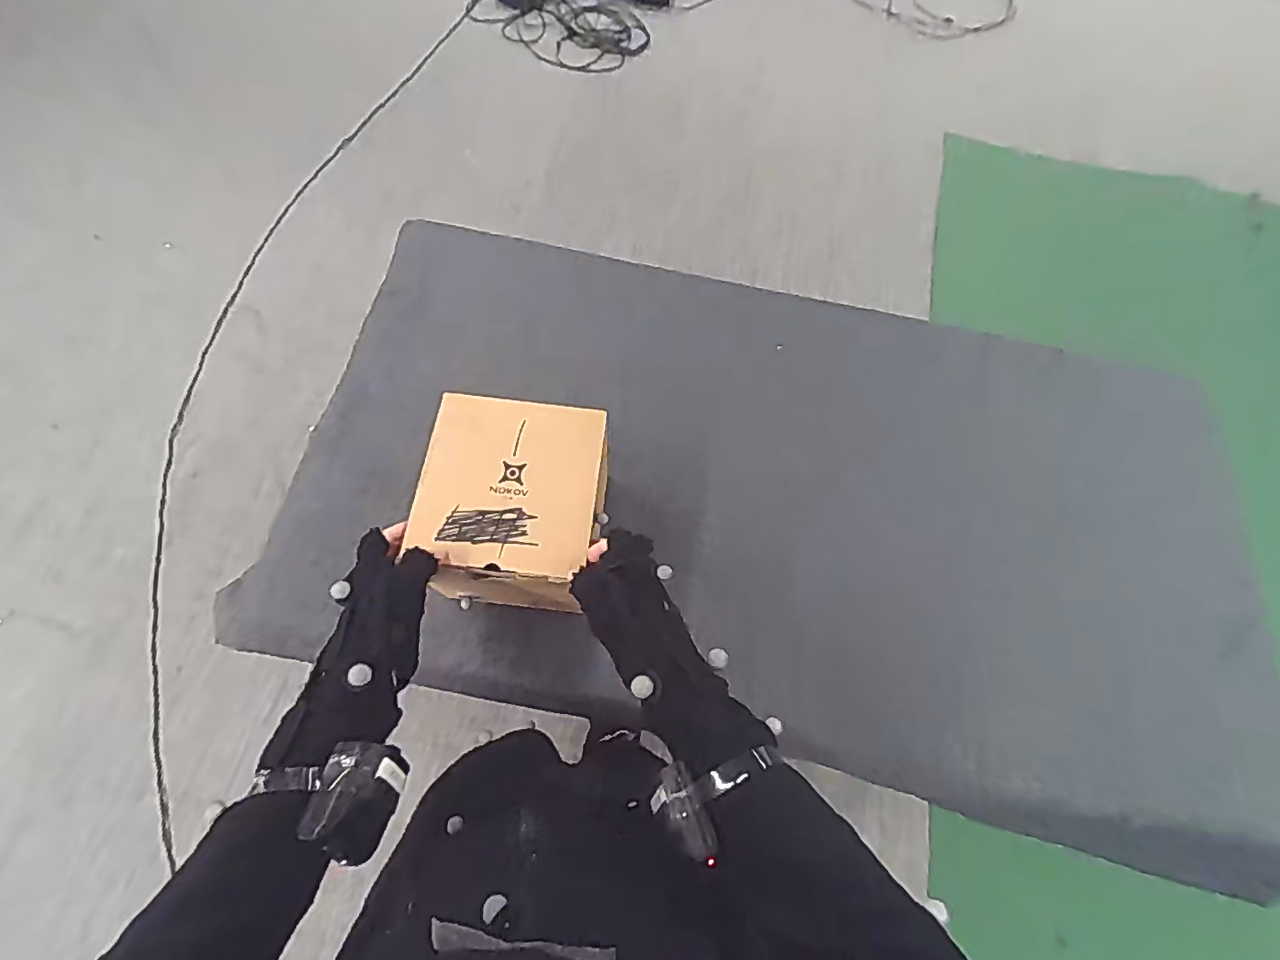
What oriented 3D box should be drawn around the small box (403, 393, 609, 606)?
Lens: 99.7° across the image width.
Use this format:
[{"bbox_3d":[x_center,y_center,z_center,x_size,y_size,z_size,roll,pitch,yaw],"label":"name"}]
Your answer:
[{"bbox_3d":[-0.125,0.032,0.584,0.168,0.176,0.179,7,66,-1],"label":"small box"}]
